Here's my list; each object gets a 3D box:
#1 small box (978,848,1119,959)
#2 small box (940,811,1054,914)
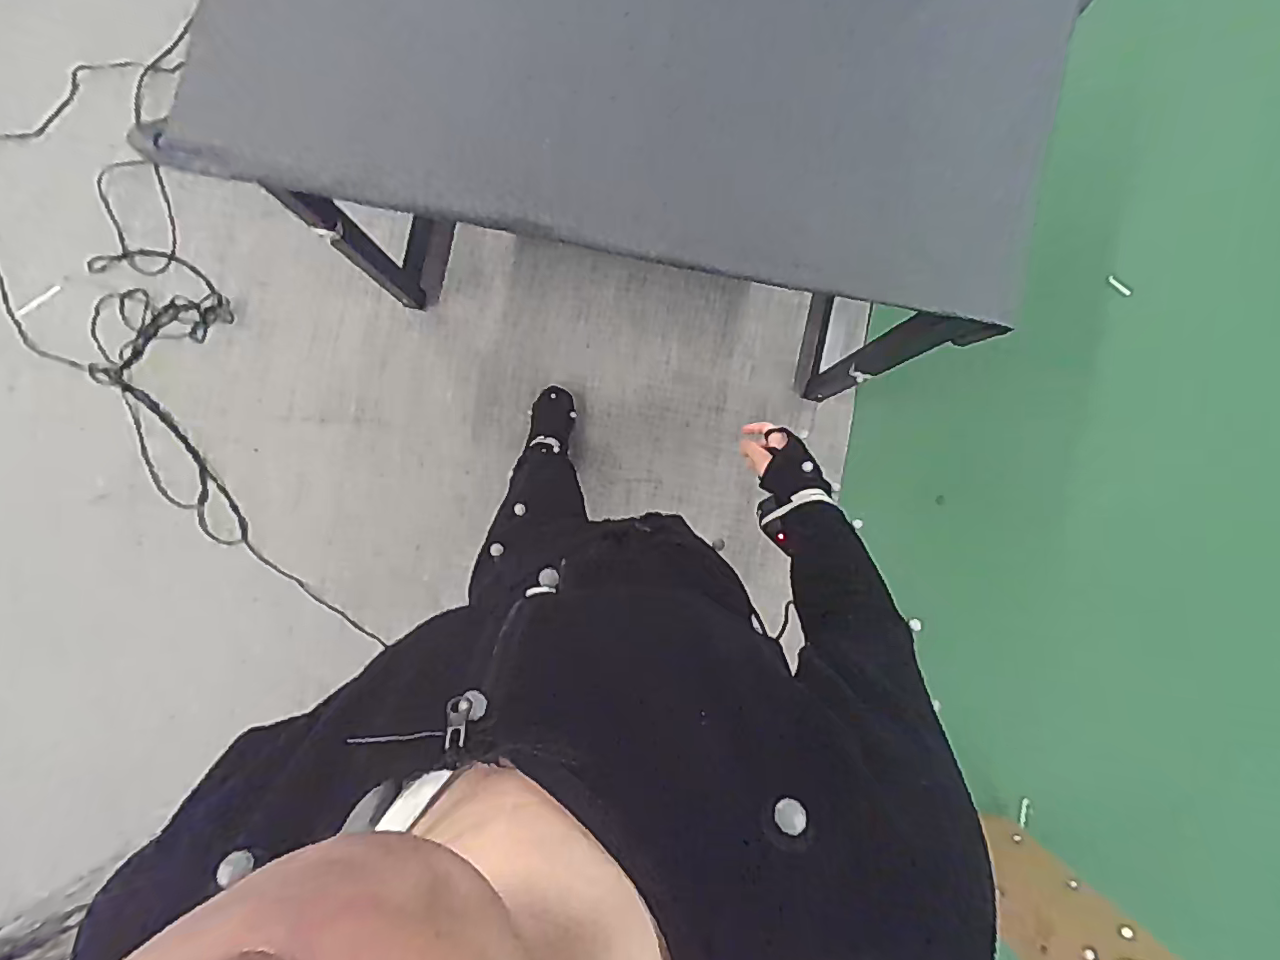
[{"bbox_3d":[0.922,0.984,1.233,0.179,0.176,0.168,14,87,-2],"label":"small box"},{"bbox_3d":[0.914,0.992,1.398,0.179,0.176,0.168,11,87,-3],"label":"small box"}]
